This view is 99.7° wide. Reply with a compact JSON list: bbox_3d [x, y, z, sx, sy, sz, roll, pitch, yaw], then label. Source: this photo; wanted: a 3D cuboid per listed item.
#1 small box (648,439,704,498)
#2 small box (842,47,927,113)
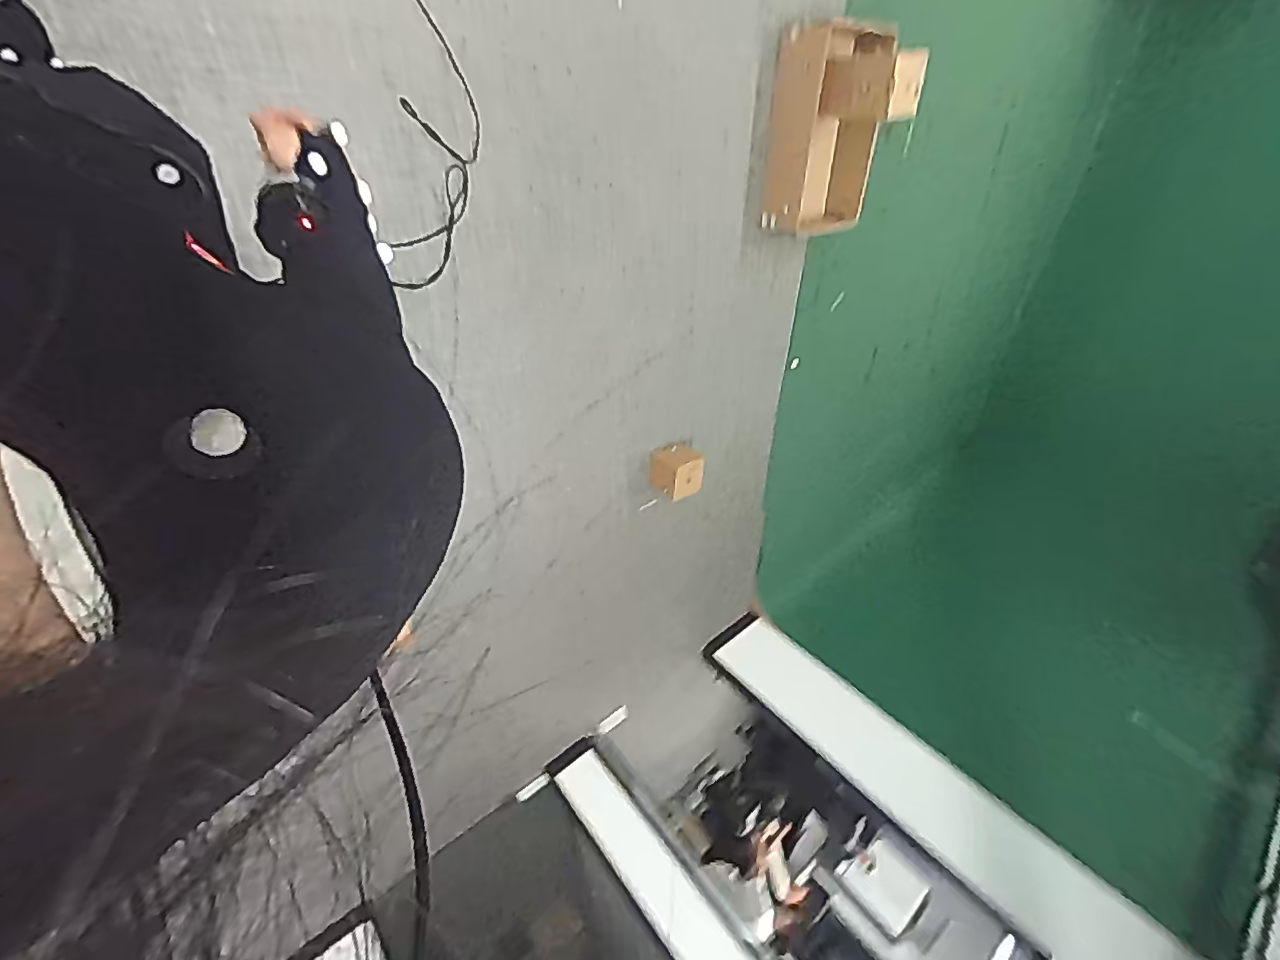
[{"bbox_3d":[0.150,-0.055,2.339,0.168,0.176,0.179,-22,131,-35],"label":"small box"},{"bbox_3d":[0.782,-1.286,1.743,0.179,0.176,0.168,-27,133,-28],"label":"small box"}]
